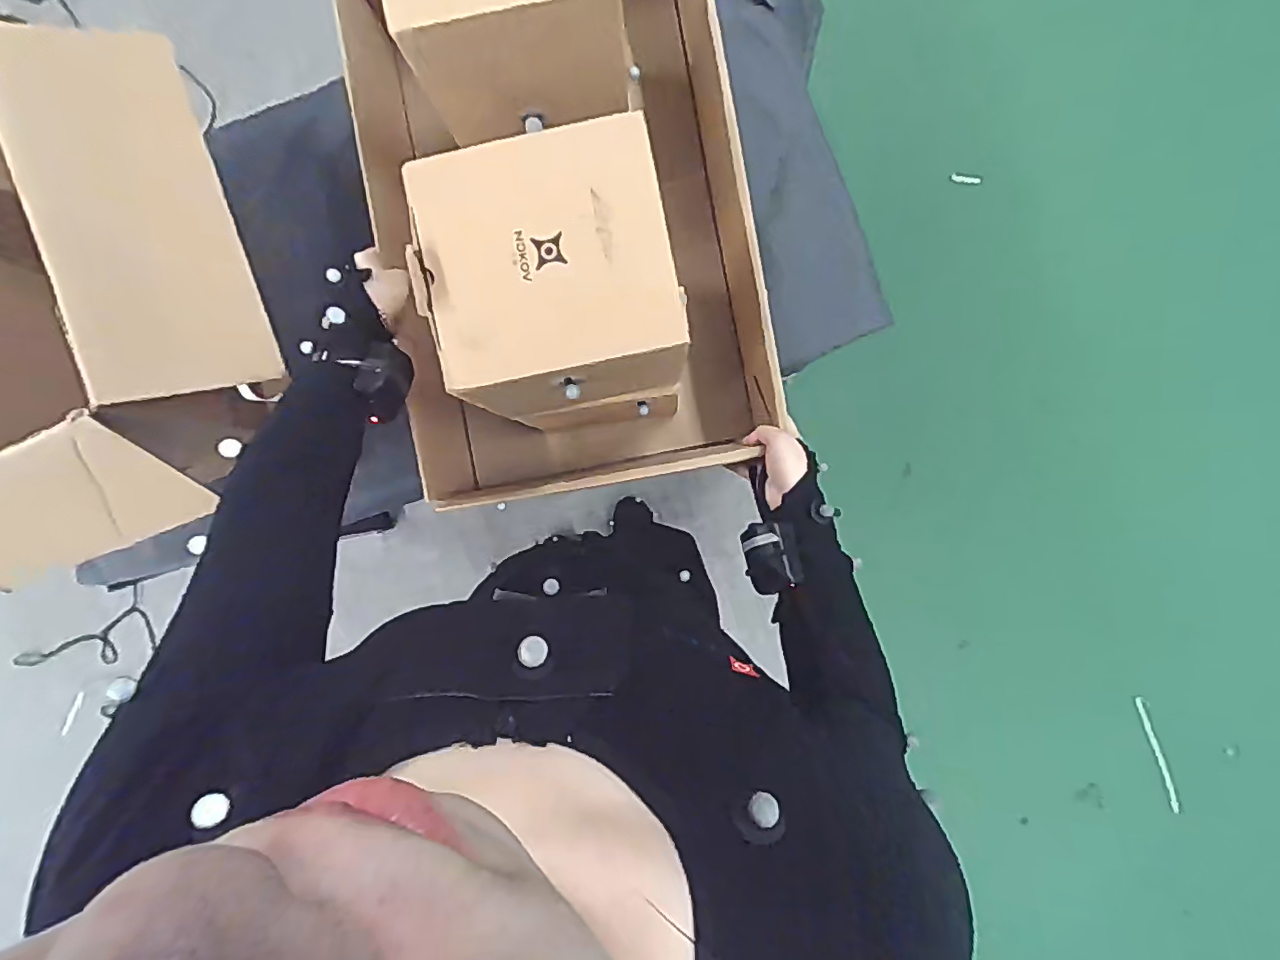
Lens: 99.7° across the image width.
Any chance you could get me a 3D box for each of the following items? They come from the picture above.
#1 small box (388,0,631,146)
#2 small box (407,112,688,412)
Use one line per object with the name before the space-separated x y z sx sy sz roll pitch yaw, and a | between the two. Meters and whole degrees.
small box | -0.102 -0.410 0.448 0.168 0.176 0.179 -9 93 2
small box | -0.062 -0.159 0.456 0.179 0.176 0.168 -11 91 1
